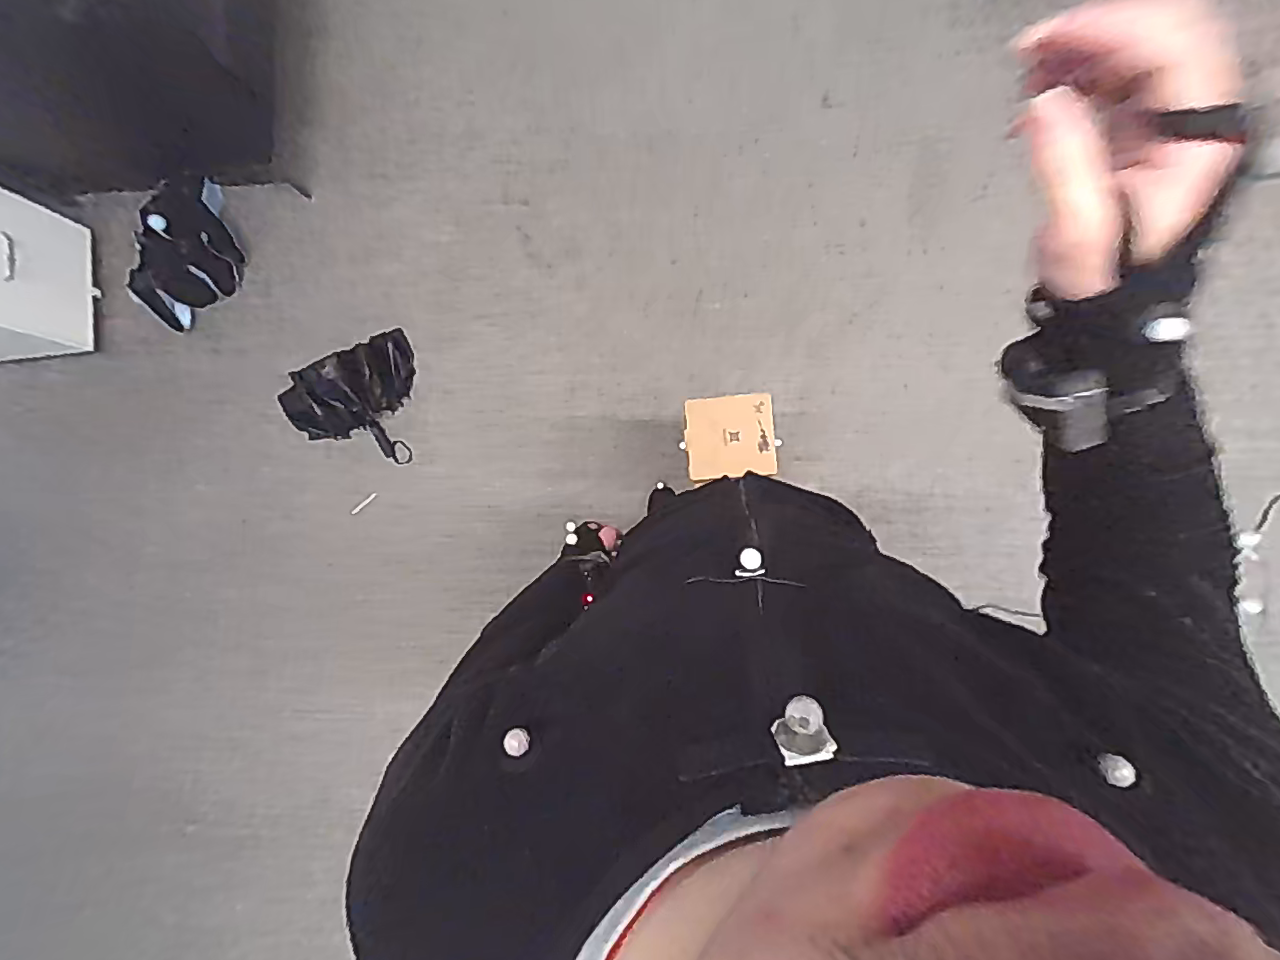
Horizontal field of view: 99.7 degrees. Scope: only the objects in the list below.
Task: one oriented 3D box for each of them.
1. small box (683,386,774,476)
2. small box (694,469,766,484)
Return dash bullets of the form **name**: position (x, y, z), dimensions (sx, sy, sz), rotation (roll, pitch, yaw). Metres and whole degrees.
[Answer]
- **small box**: position (0.188, -0.098, 1.161), dimensions (0.179, 0.176, 0.168), rotation (-4, 86, 7)
- **small box**: position (0.211, -0.084, 1.323), dimensions (0.168, 0.176, 0.179), rotation (-4, 87, 7)
